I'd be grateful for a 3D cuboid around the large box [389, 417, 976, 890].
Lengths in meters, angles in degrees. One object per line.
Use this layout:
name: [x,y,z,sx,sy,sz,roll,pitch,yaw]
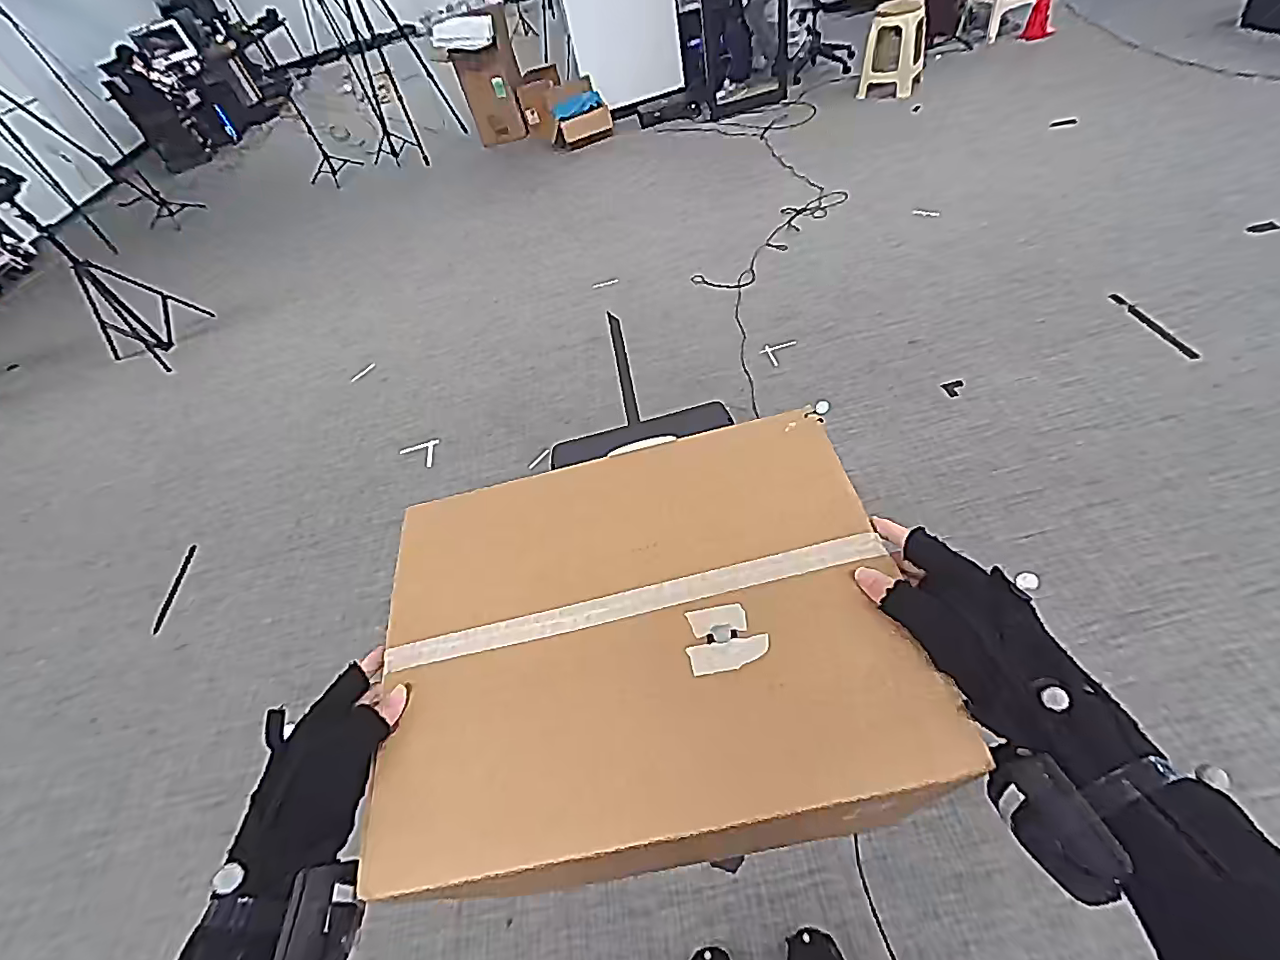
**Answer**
large box: [0.026,0.191,0.557,0.408,0.320,0.320,-14,52,3]
